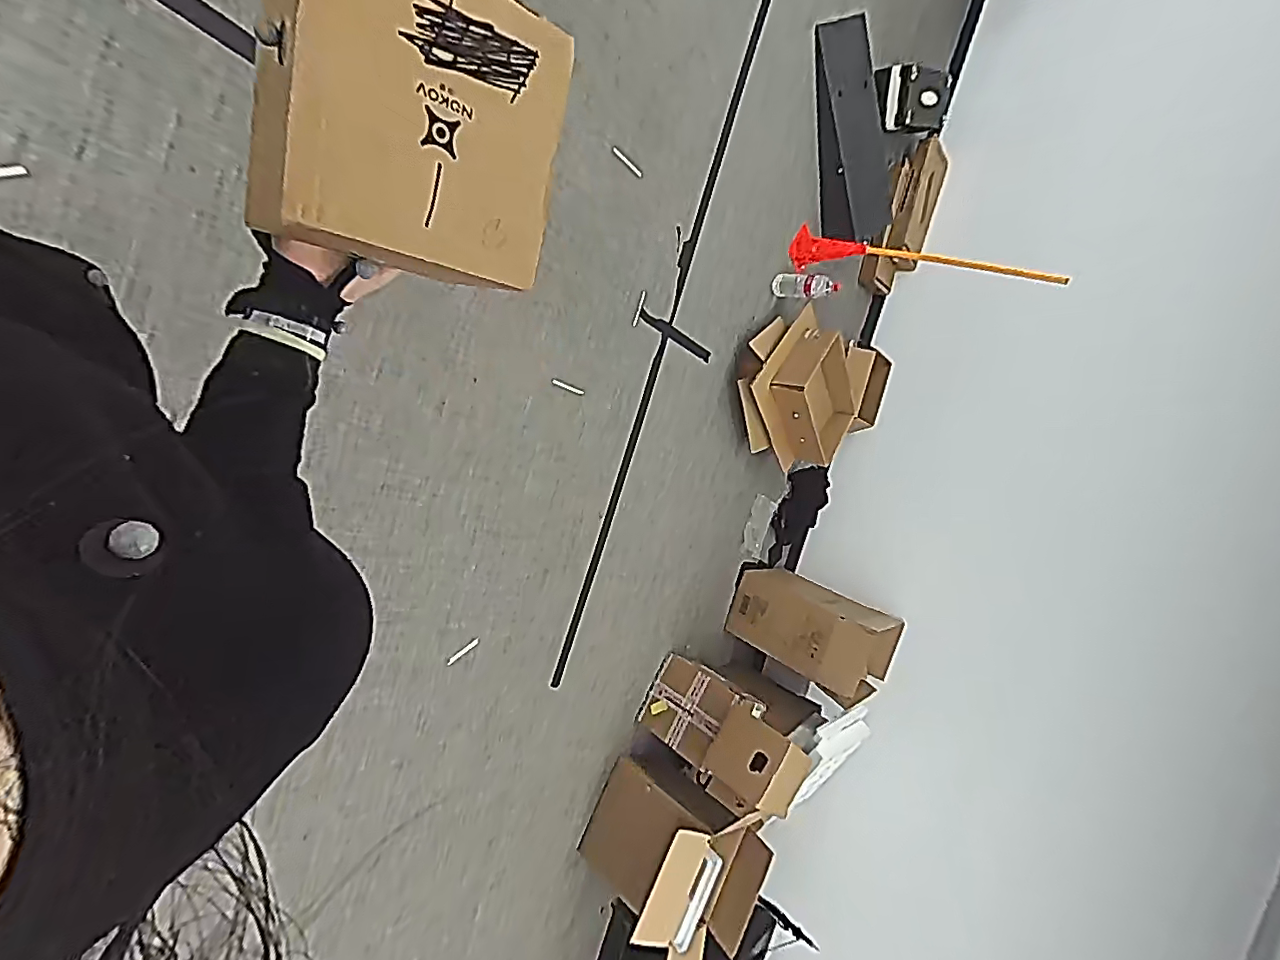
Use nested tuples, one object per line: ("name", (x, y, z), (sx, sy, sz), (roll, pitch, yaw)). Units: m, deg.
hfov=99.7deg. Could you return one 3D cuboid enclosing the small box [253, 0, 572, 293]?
("small box", (-0.178, -0.254, 0.406), (0.168, 0.176, 0.179), (1, 107, -43))
